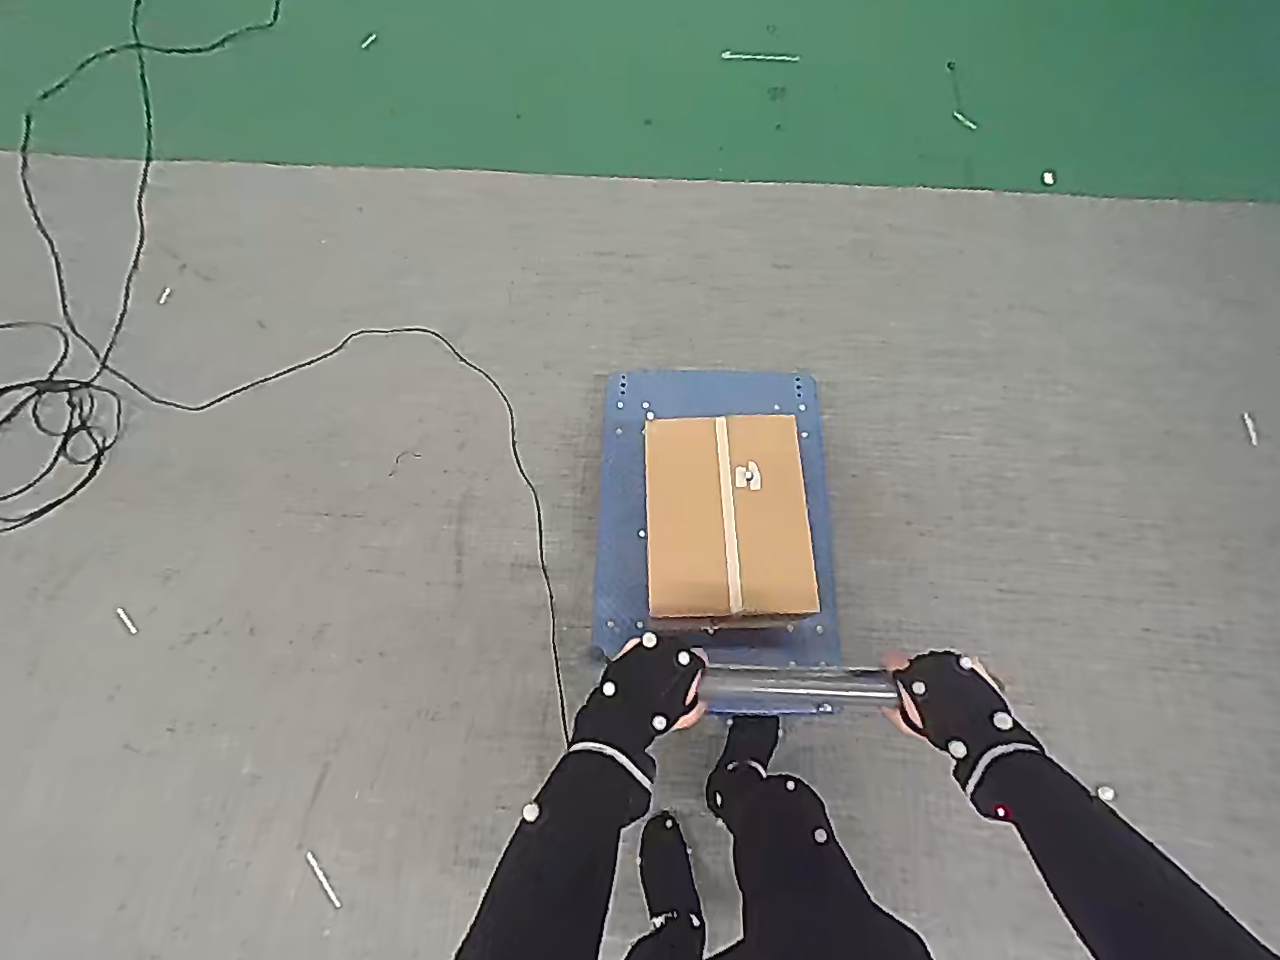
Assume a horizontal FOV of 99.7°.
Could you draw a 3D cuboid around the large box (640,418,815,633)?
[{"bbox_3d":[0.167,0.116,1.200,0.320,0.320,0.408,-2,70,0],"label":"large box"}]
